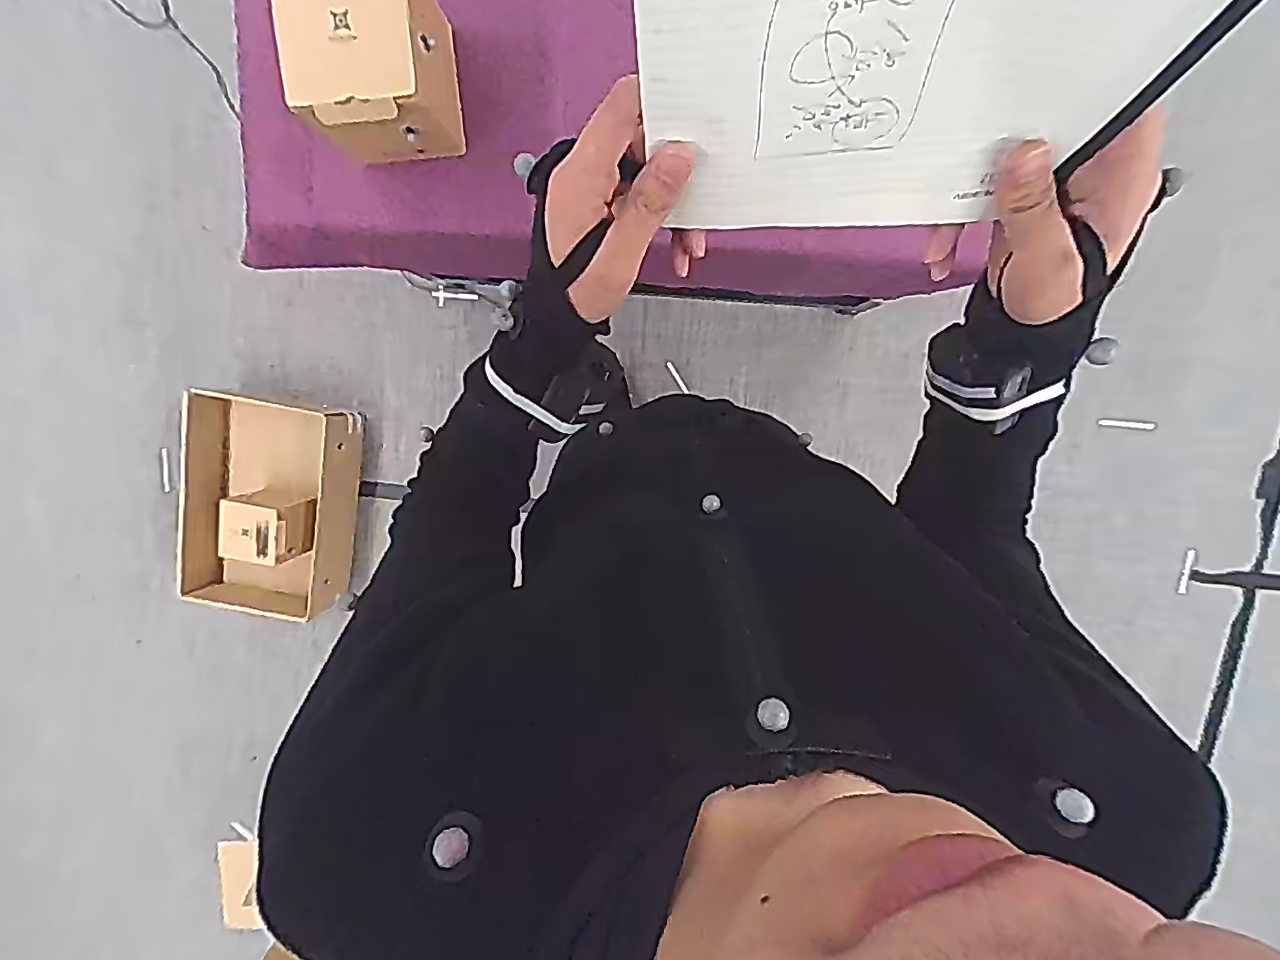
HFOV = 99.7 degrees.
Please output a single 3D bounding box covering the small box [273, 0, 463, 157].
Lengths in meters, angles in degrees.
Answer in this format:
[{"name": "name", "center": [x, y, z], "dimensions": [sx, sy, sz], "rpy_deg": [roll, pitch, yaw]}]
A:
[{"name": "small box", "center": [-0.351, -0.557, 0.726], "dimensions": [0.168, 0.176, 0.179], "rpy_deg": [-3, 99, 2]}]
